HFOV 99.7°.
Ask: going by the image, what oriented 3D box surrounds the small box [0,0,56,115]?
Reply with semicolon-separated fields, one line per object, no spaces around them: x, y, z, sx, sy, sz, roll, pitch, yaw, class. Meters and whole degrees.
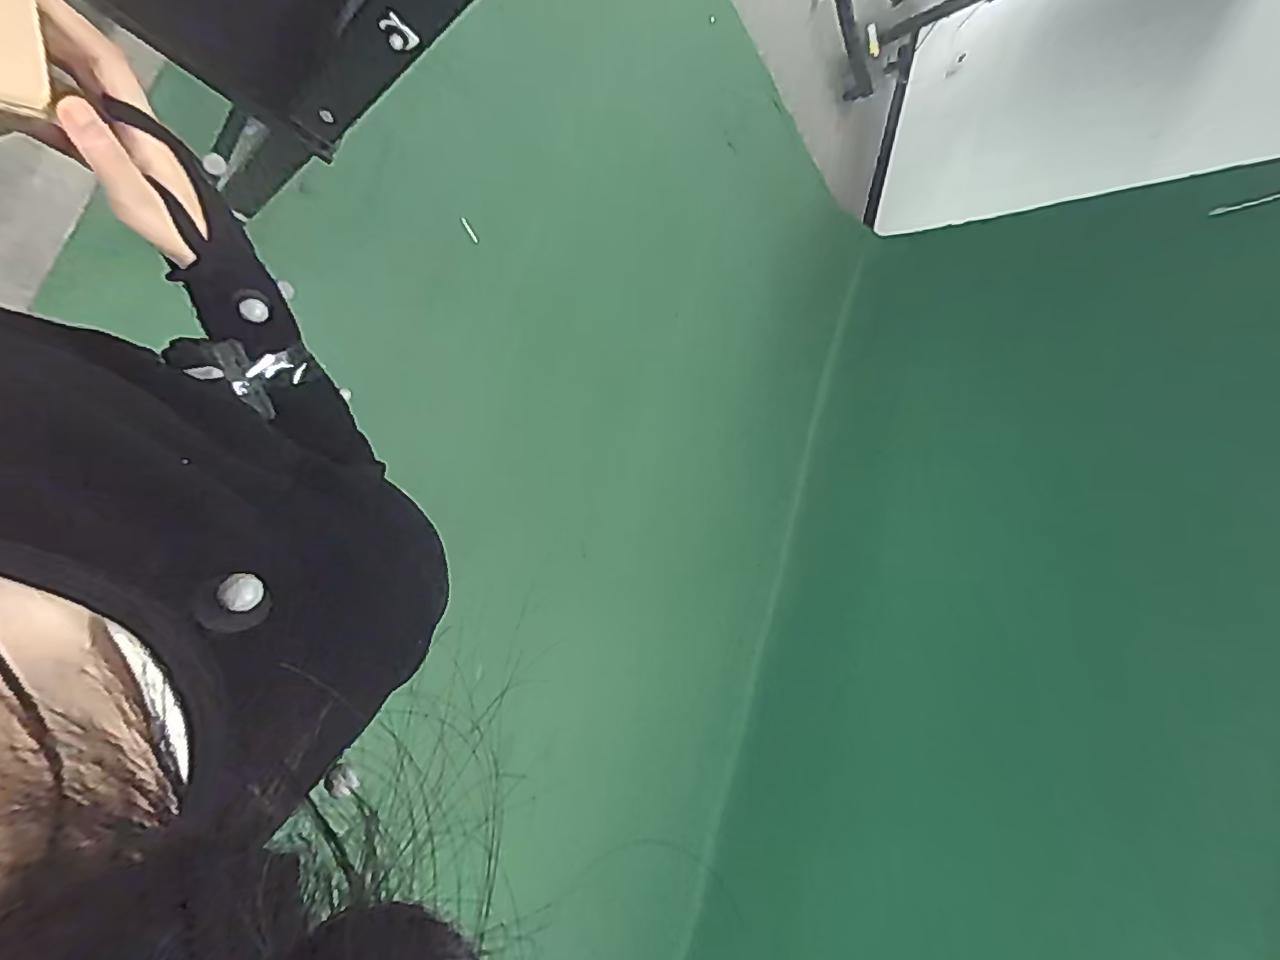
-0.372;-0.254;0.197;0.168;0.176;0.179;-23;122;-58;small box
